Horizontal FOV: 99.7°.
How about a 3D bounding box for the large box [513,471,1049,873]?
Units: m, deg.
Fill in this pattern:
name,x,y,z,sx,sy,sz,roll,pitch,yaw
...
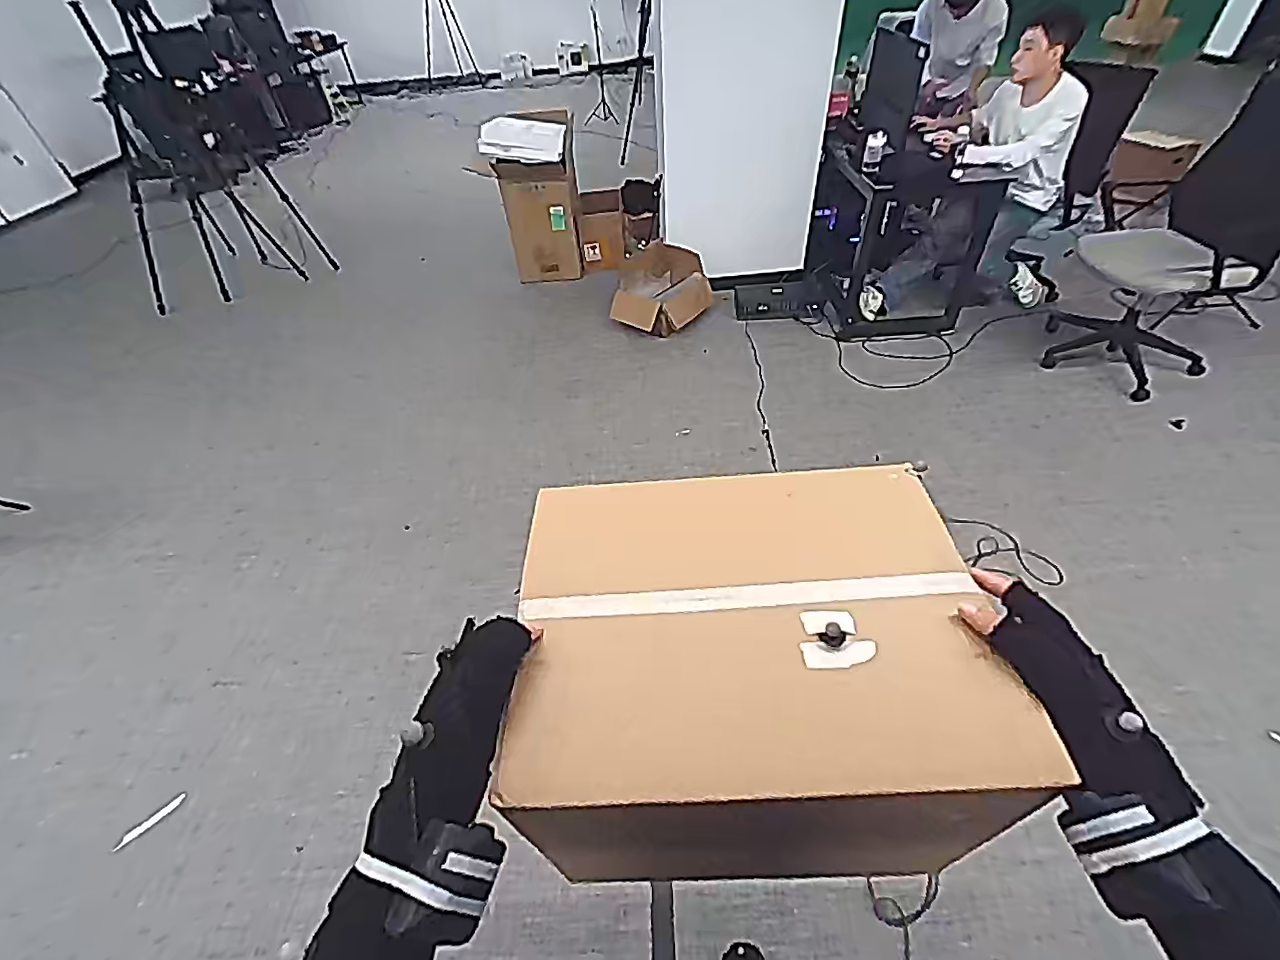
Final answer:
name,x,y,z,sx,sy,sz,roll,pitch,yaw
large box,0.107,0.216,0.604,0.408,0.320,0.320,-4,45,2
